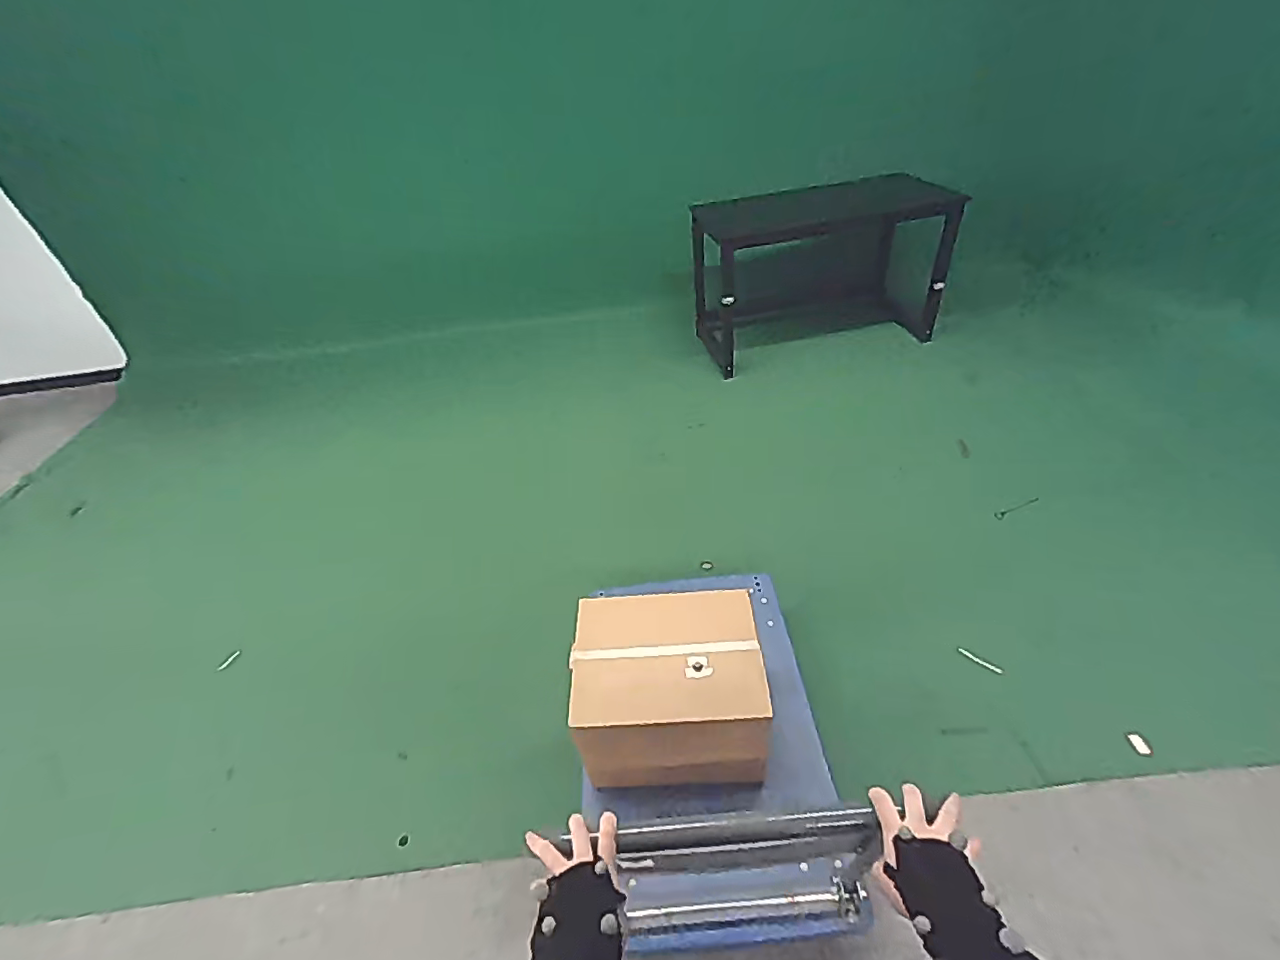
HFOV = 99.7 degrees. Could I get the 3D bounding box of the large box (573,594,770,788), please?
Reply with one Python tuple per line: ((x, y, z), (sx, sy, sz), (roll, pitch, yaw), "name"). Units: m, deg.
((0.068, 0.500, 1.282), (0.408, 0.320, 0.320), (-4, 40, 2), "large box")
